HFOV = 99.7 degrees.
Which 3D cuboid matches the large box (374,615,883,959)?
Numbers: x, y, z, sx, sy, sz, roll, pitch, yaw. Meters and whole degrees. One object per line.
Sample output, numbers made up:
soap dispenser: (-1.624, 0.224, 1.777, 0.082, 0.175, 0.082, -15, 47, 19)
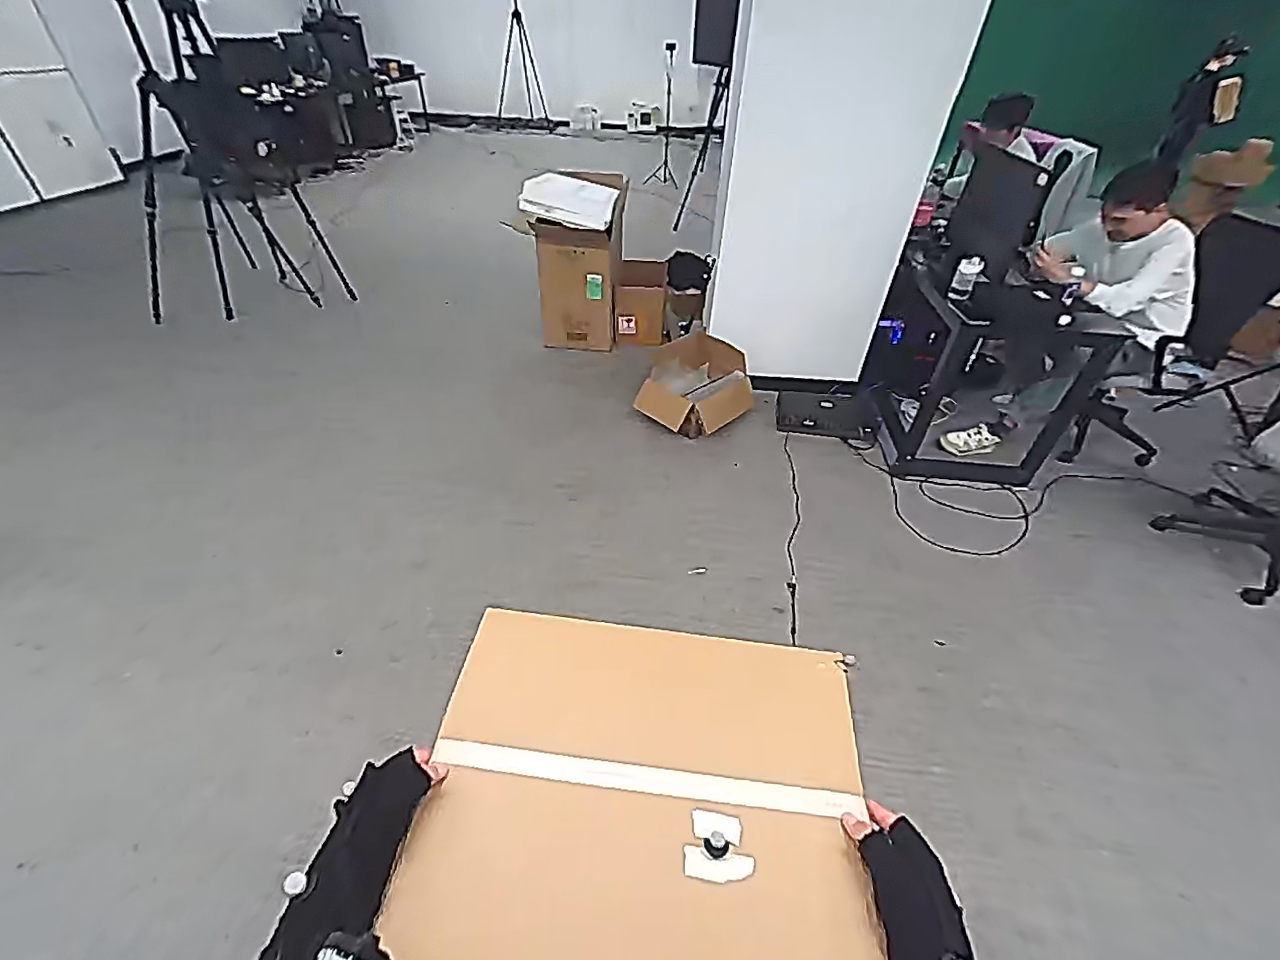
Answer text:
large box: (-0.002, 0.389, 0.613, 0.408, 0.320, 0.320, 7, 45, 3)
